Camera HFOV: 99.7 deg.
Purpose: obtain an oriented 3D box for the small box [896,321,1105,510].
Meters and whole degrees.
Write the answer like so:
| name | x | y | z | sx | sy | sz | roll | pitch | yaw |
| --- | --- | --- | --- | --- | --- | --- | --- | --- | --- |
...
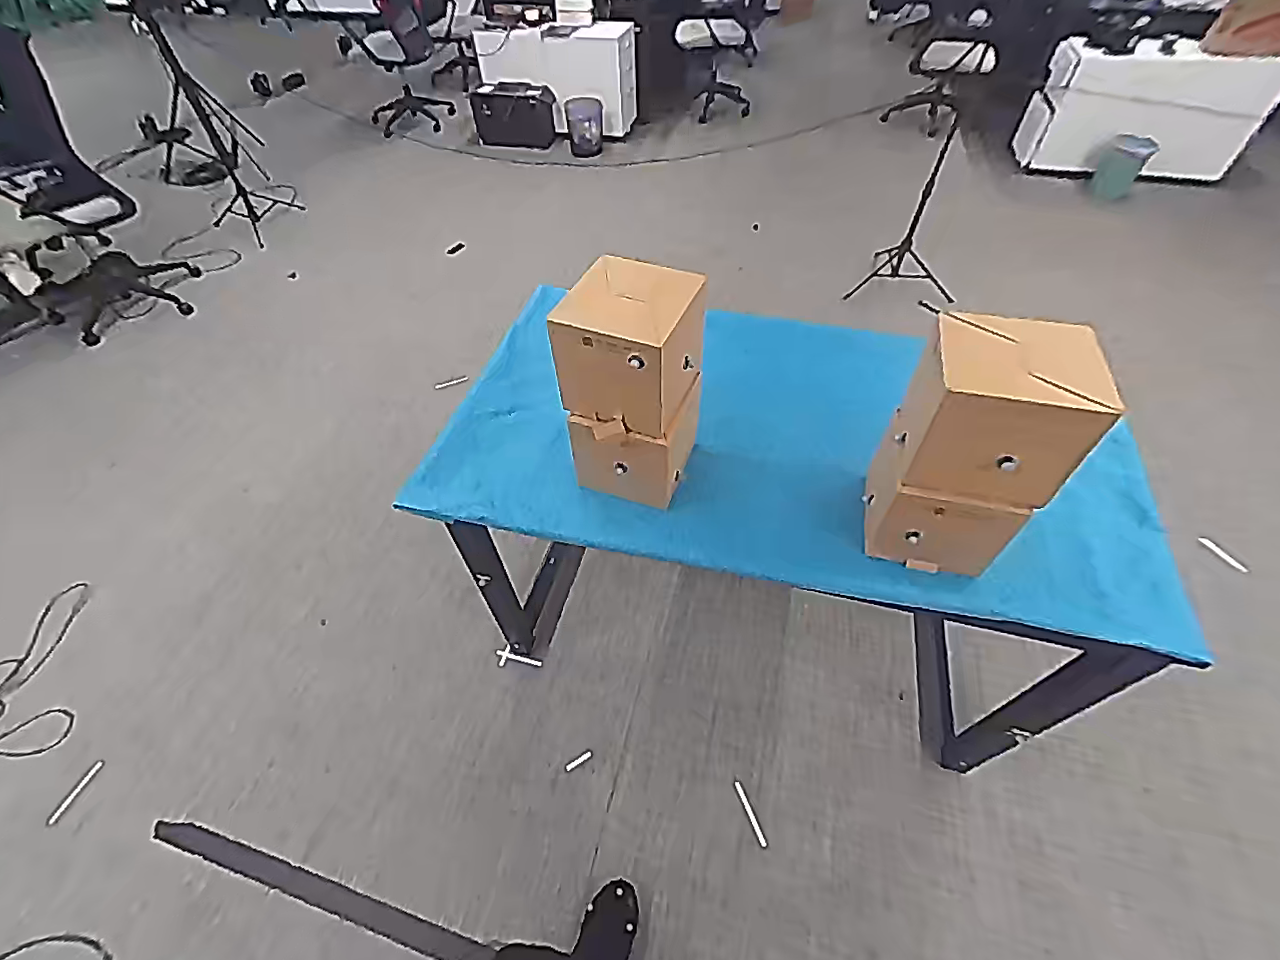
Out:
| name | x | y | z | sx | sy | sz | roll | pitch | yaw |
| --- | --- | --- | --- | --- | --- | --- | --- | --- | --- |
| small box | 0.449 | -0.087 | 0.704 | 0.179 | 0.176 | 0.168 | 10 | 50 | 13 |

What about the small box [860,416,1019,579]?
| name | x | y | z | sx | sy | sz | roll | pitch | yaw |
| --- | --- | --- | --- | --- | --- | --- | --- | --- | --- |
| small box | 0.446 | 0.022 | 0.827 | 0.168 | 0.176 | 0.179 | 11 | 51 | 10 |

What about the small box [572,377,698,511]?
| name | x | y | z | sx | sy | sz | roll | pitch | yaw |
| --- | --- | --- | --- | --- | --- | --- | --- | --- | --- |
| small box | -0.004 | -0.079 | 0.920 | 0.168 | 0.176 | 0.179 | 16 | 53 | 13 |

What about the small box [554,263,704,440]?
| name | x | y | z | sx | sy | sz | roll | pitch | yaw |
| --- | --- | --- | --- | --- | --- | --- | --- | --- | --- |
| small box | -0.011 | -0.194 | 0.801 | 0.168 | 0.176 | 0.179 | 19 | 55 | 15 |
